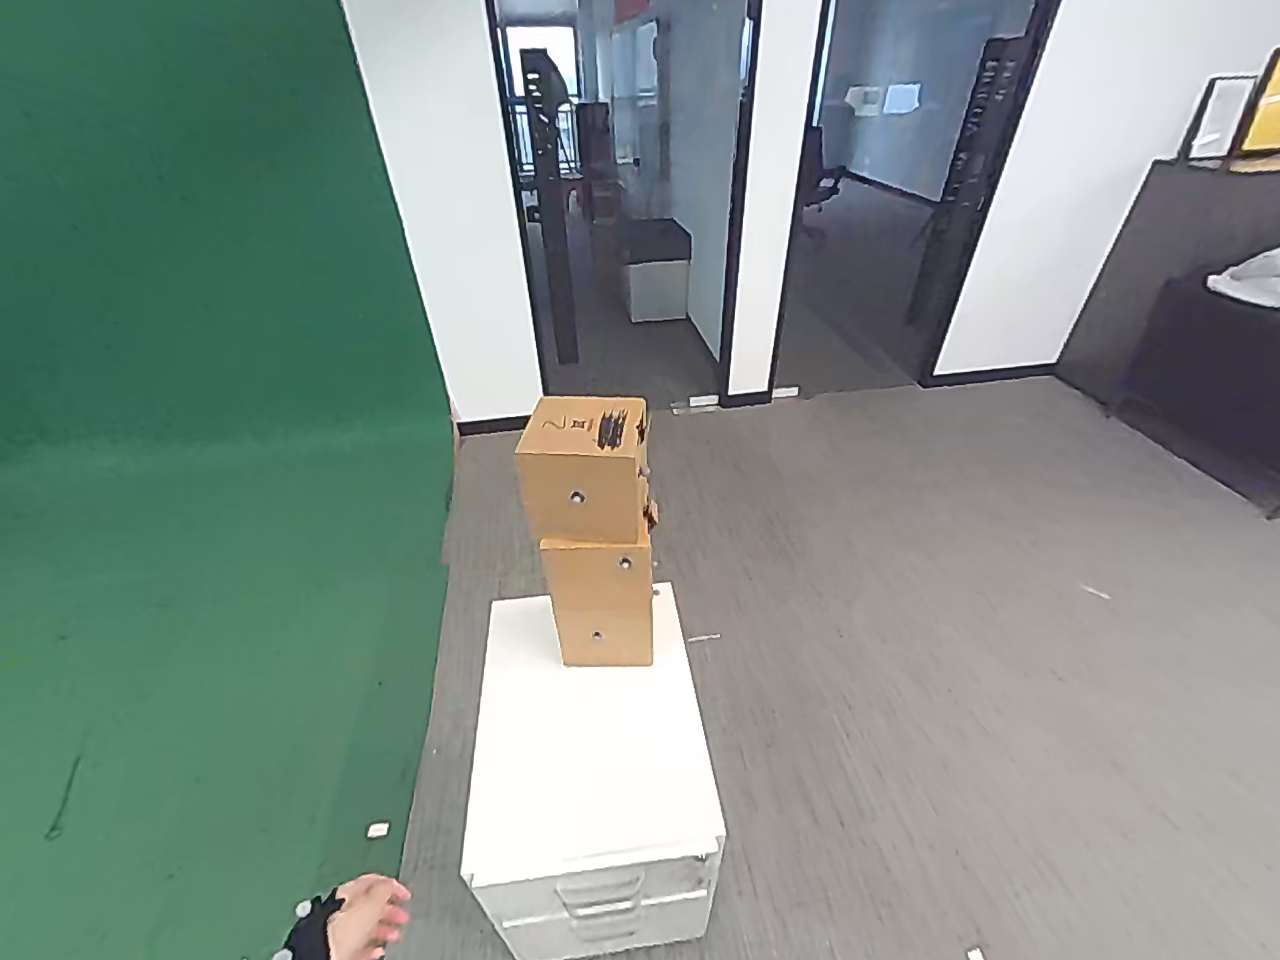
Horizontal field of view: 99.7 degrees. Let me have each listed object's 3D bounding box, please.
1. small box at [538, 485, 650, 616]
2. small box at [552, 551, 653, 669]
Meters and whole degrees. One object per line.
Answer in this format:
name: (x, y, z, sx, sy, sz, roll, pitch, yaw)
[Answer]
small box: (-0.072, 0.126, 0.955, 0.179, 0.176, 0.168, -1, 38, 0)
small box: (-0.065, 0.252, 1.057, 0.179, 0.176, 0.168, -1, 38, 1)
